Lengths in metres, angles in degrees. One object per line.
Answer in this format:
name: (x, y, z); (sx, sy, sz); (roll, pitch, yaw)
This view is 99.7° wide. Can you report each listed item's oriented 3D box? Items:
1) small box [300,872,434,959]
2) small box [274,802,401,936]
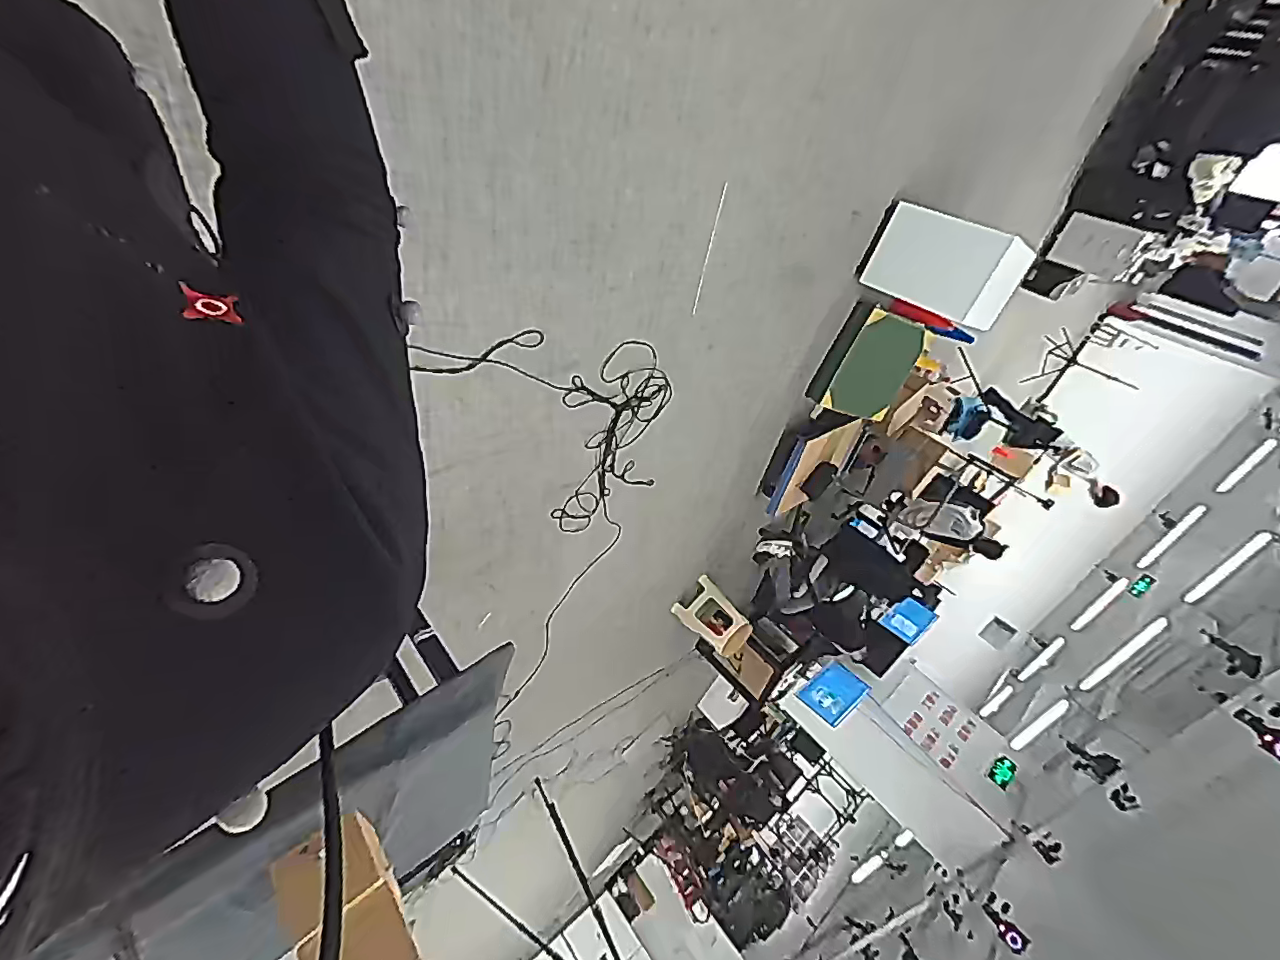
small box: (-0.537, 0.931, 1.072); (0.179, 0.176, 0.168); (-25, 140, -33)
small box: (-0.637, 0.828, 1.148); (0.168, 0.176, 0.179); (-29, 143, -31)
